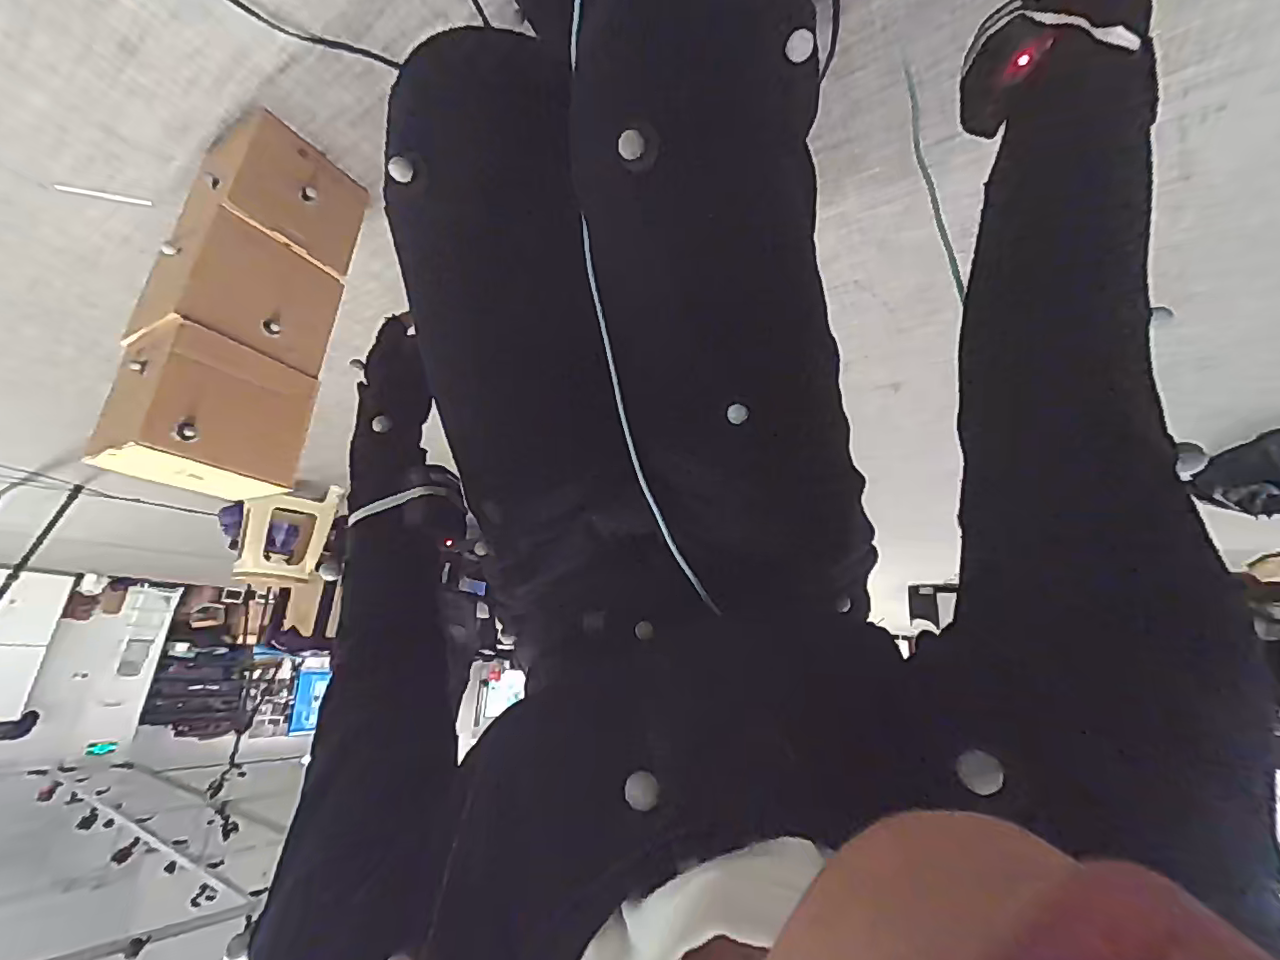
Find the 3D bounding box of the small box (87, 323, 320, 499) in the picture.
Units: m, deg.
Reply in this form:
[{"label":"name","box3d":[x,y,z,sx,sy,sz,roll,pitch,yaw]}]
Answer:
[{"label":"small box","box3d":[-0.571,-0.082,0.727,0.168,0.176,0.179,-7,158,29]}]

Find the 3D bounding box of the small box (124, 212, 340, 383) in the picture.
[{"label":"small box","box3d":[-0.566,-0.239,0.771,0.168,0.176,0.179,-7,158,29]}]

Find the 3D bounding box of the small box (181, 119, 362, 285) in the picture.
[{"label":"small box","box3d":[-0.551,-0.396,0.820,0.179,0.176,0.168,-8,158,30]}]
